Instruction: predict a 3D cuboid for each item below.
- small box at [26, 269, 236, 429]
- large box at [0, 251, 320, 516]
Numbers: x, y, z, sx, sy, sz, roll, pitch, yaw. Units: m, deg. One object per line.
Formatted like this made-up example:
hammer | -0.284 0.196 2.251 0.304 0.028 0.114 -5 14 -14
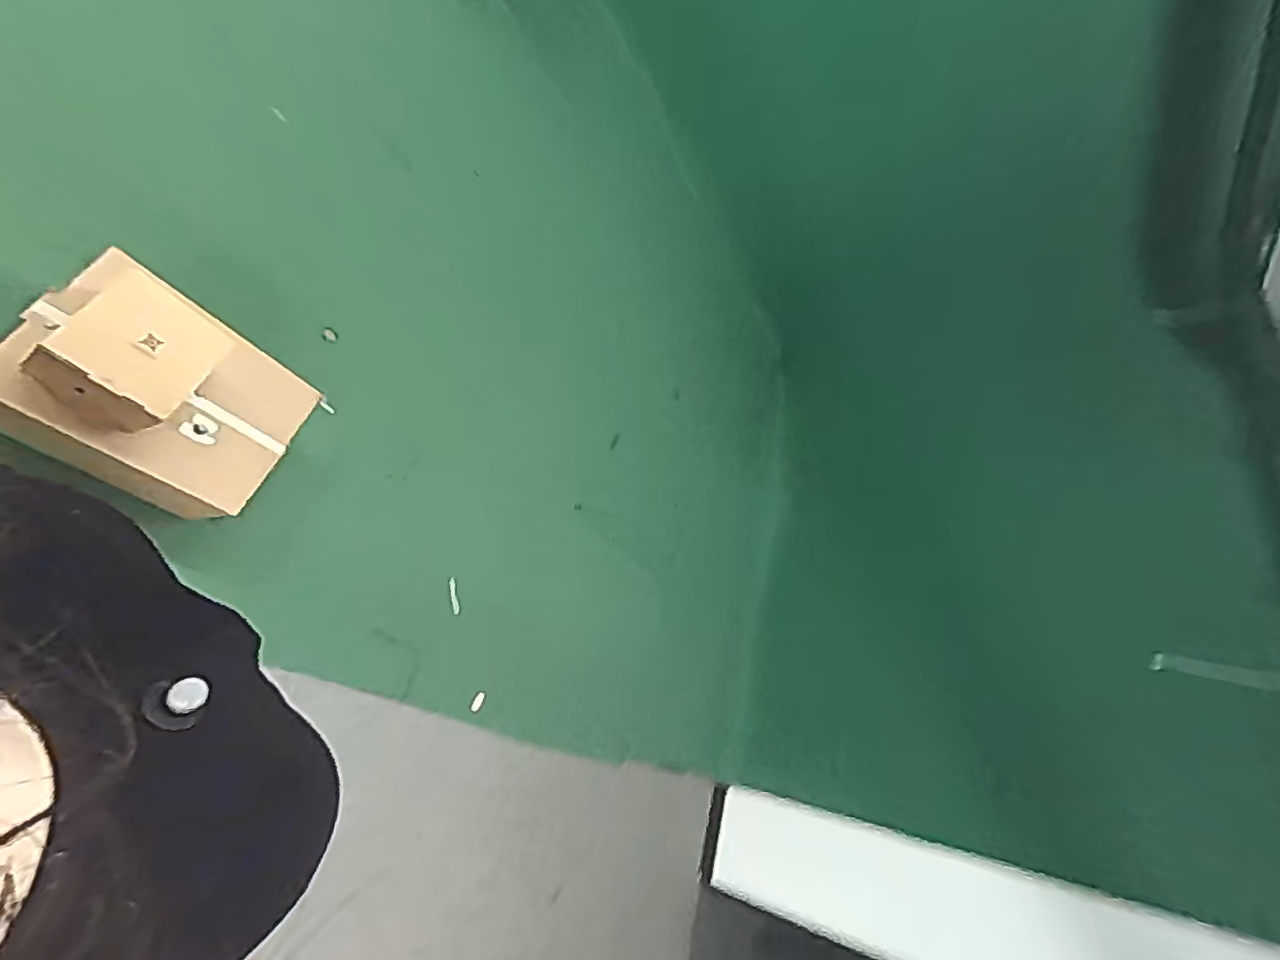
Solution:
small box | -0.813 -0.201 0.866 0.168 0.176 0.179 49 51 -41
large box | -0.965 -0.156 1.068 0.408 0.320 0.320 47 52 -42
